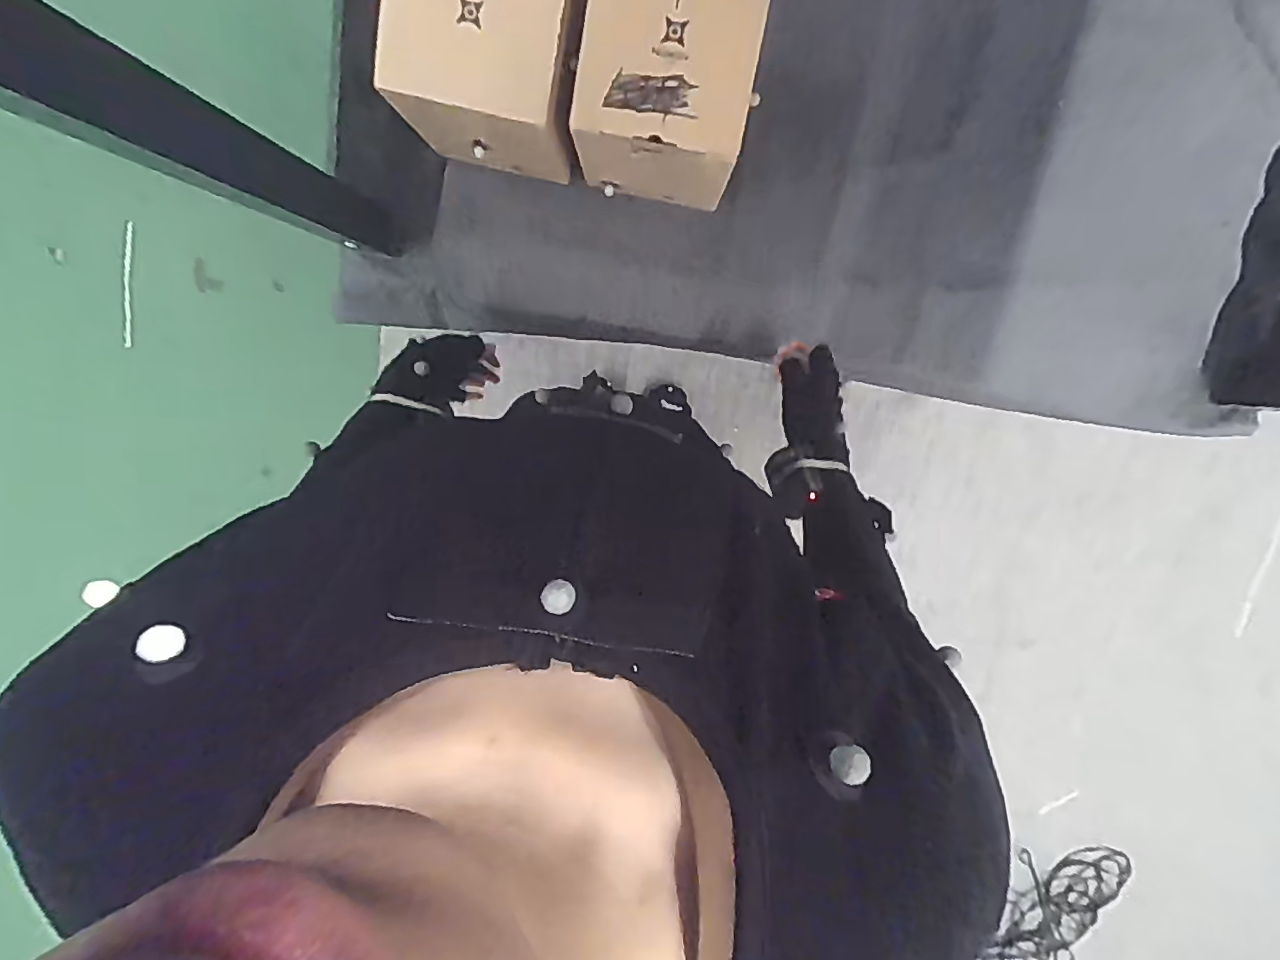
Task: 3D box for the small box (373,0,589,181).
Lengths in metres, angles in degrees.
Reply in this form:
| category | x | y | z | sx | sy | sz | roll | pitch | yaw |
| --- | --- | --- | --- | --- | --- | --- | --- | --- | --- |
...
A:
| category | x | y | z | sx | sy | sz | roll | pitch | yaw |
| --- | --- | --- | --- | --- | --- | --- | --- | --- | --- |
| small box | -0.151 | -0.443 | 0.565 | 0.168 | 0.176 | 0.179 | 12 | 101 | -3 |
